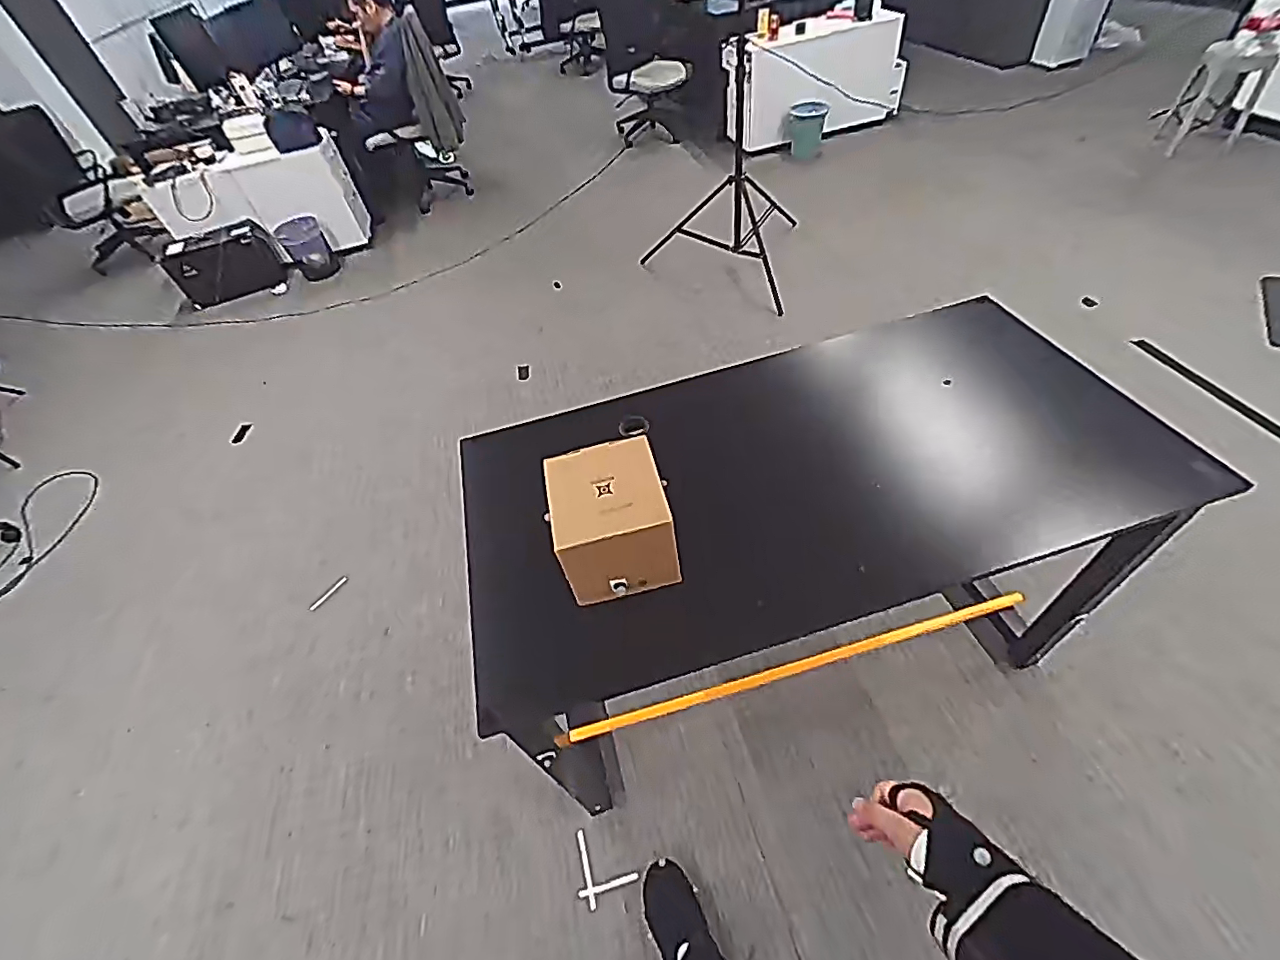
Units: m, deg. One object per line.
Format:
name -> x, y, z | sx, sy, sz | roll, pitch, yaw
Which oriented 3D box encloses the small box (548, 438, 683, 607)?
small box -> -0.036, 0.068, 0.835 | 0.168, 0.176, 0.179 | -15, 50, -2
